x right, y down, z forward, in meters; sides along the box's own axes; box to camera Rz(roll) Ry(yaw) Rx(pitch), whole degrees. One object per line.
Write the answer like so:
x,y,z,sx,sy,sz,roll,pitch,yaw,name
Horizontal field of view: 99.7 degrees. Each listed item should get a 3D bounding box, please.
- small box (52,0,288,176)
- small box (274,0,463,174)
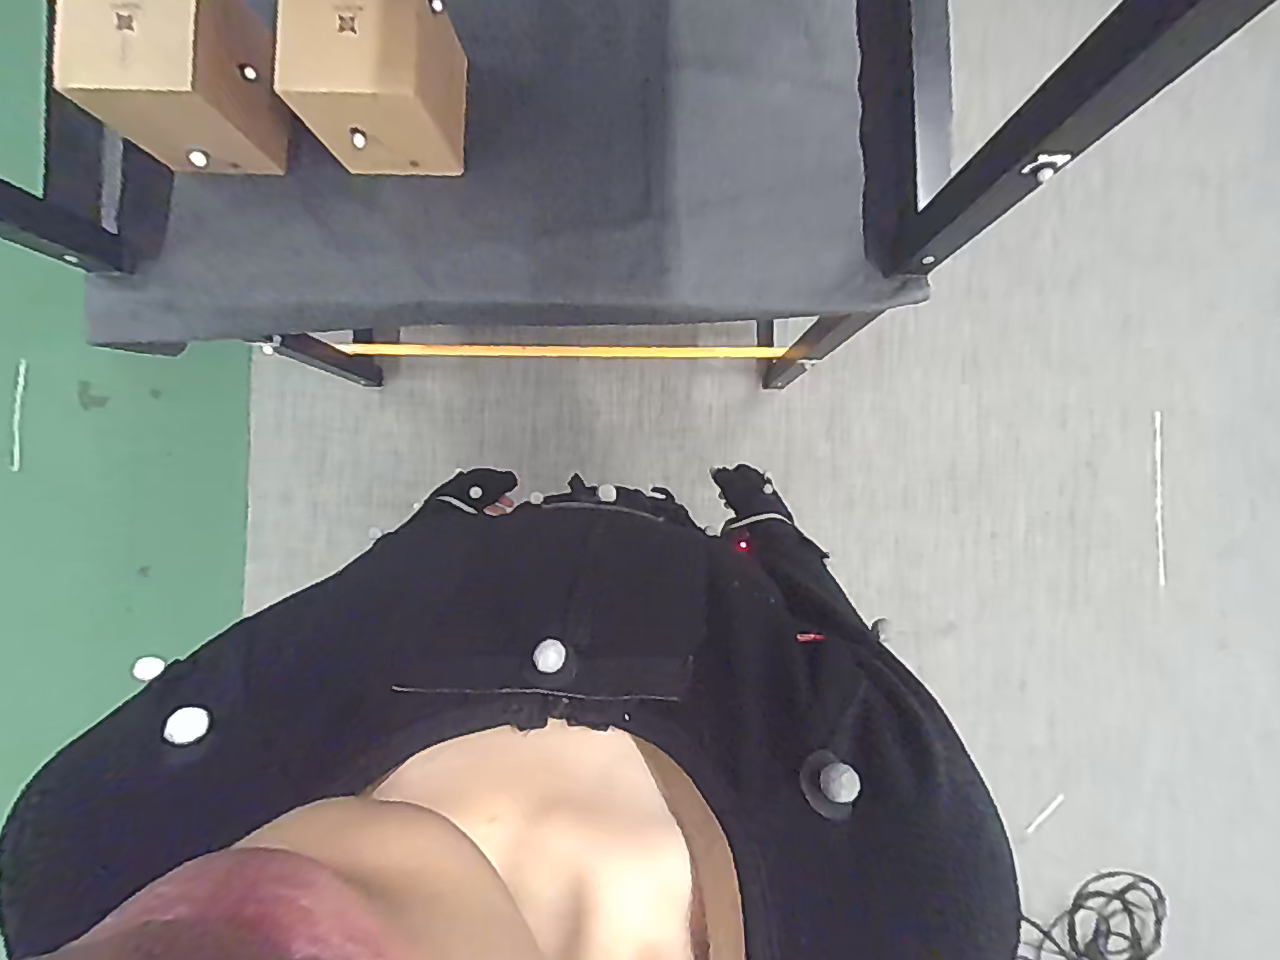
-0.592,-0.533,0.706,0.168,0.176,0.179,2,89,0,small box
-0.340,-0.530,0.707,0.168,0.176,0.179,1,88,0,small box
